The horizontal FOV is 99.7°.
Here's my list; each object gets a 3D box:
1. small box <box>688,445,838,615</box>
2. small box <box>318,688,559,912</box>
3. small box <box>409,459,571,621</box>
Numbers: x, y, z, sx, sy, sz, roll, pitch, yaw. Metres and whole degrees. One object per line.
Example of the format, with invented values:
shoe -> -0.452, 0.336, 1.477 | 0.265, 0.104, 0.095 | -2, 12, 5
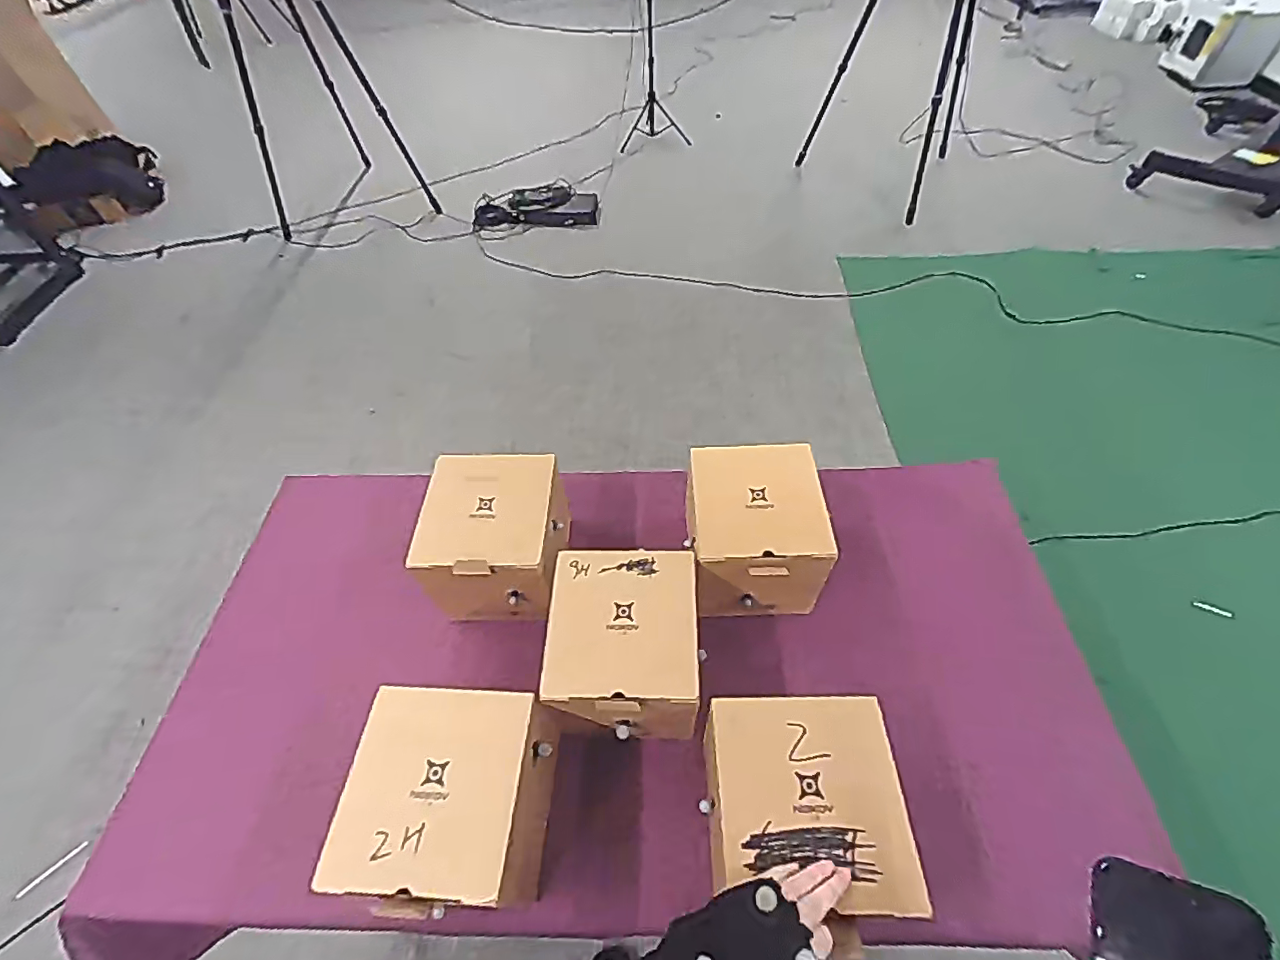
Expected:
small box -> 0.155, 0.072, 0.752 | 0.168, 0.176, 0.179 | -3, 54, 2
small box -> -0.188, 0.338, 0.571 | 0.168, 0.176, 0.179 | 1, 53, 5
small box -> -0.194, 0.090, 0.762 | 0.168, 0.176, 0.179 | 0, 53, 2
